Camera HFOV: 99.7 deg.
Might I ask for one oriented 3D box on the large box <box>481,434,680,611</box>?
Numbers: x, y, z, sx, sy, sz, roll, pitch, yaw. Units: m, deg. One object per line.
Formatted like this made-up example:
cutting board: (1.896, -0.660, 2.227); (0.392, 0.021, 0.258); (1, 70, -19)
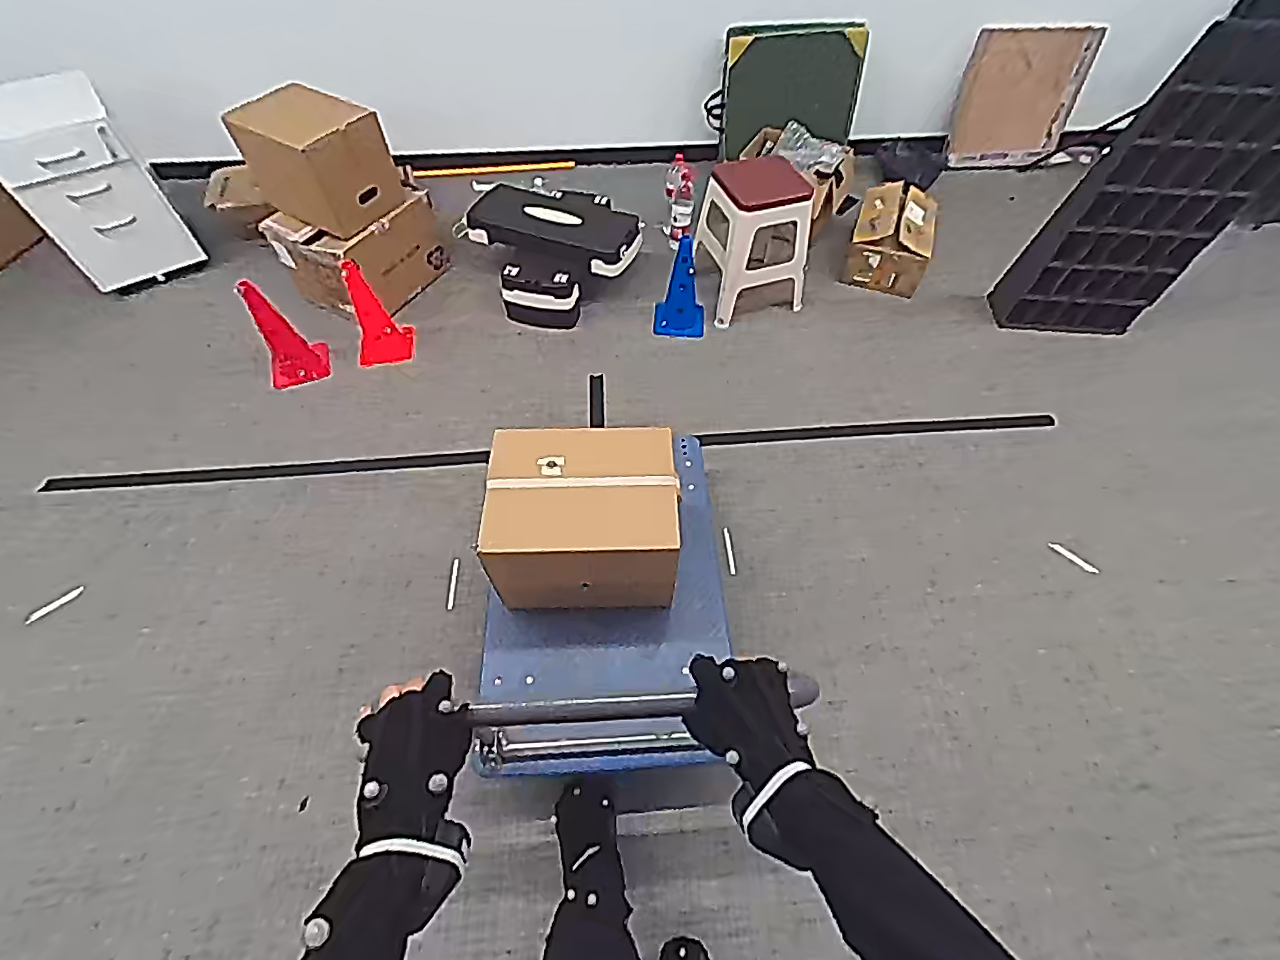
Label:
large box: (-0.123, 0.110, 1.285); (0.408, 0.320, 0.320); (-2, 56, 0)
